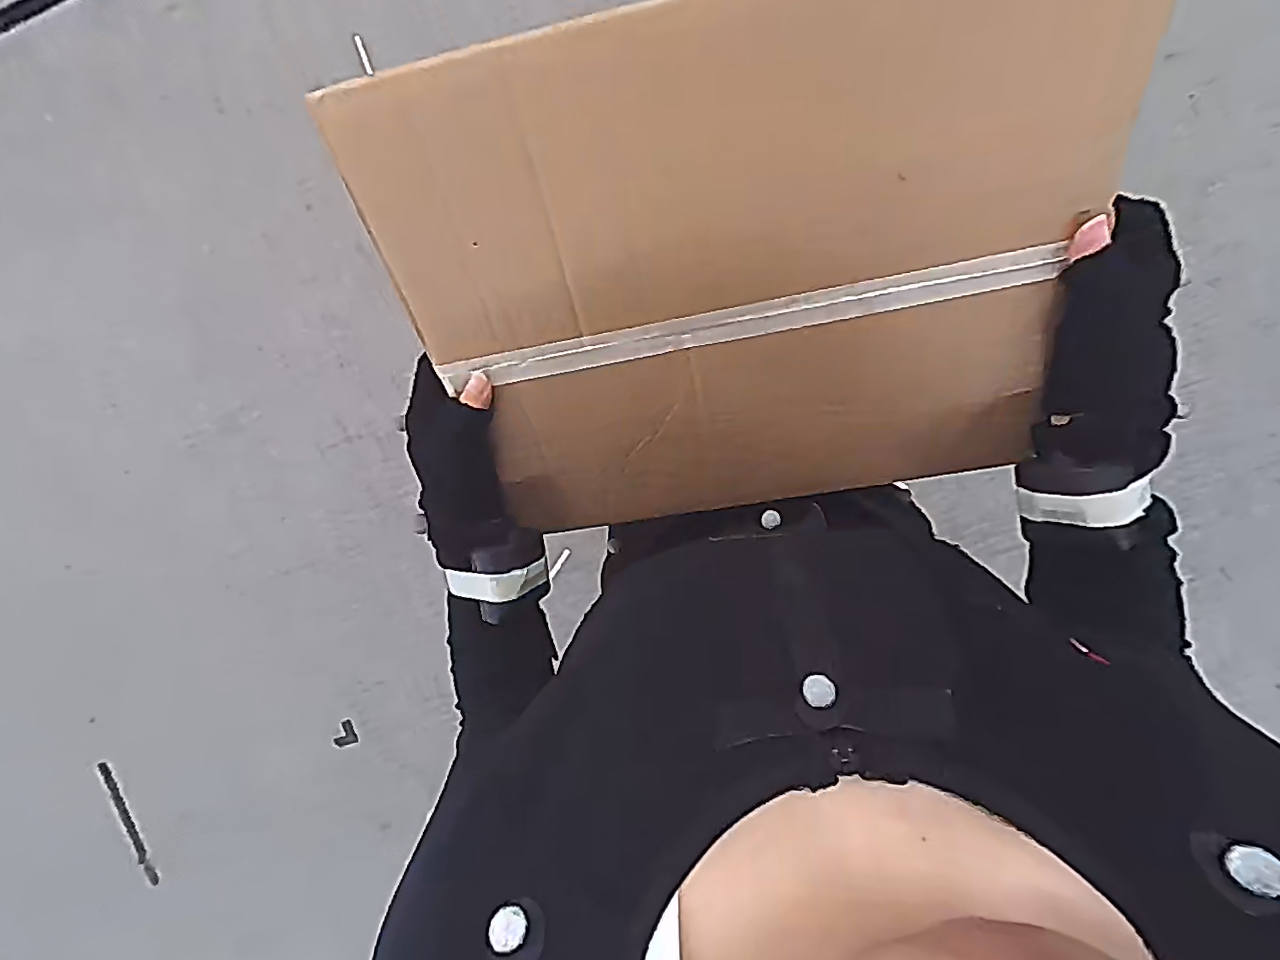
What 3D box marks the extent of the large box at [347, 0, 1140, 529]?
[{"bbox_3d":[0.066,-0.199,0.468,0.408,0.320,0.320,-9,129,7],"label":"large box"}]
